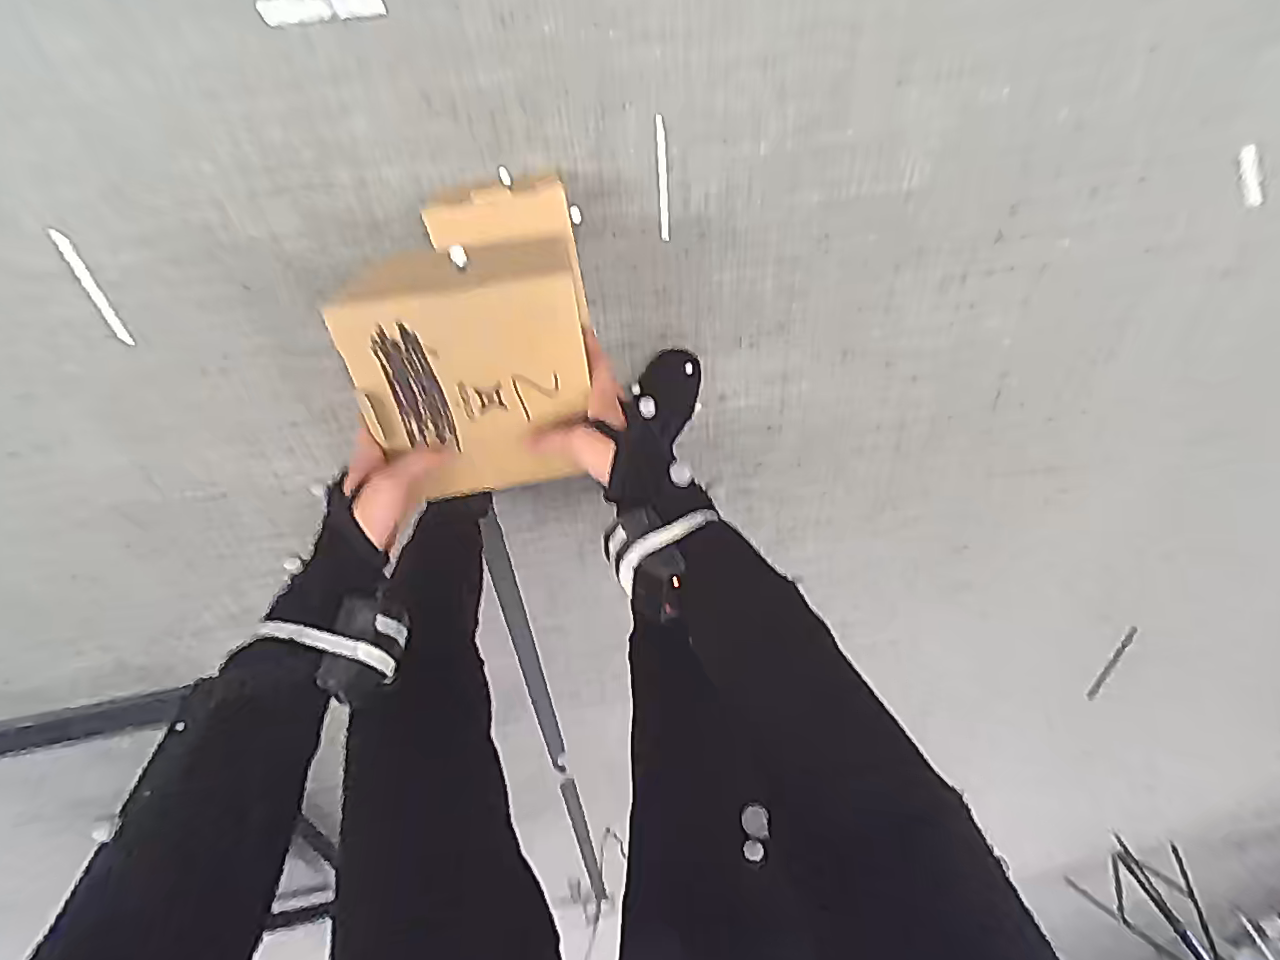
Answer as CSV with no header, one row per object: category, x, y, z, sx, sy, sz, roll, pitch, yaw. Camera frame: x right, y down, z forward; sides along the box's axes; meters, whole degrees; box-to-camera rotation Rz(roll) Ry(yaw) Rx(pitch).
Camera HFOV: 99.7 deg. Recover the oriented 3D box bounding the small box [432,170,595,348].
small box,-0.159,-0.303,0.733,0.168,0.176,0.179,-12,125,-2
